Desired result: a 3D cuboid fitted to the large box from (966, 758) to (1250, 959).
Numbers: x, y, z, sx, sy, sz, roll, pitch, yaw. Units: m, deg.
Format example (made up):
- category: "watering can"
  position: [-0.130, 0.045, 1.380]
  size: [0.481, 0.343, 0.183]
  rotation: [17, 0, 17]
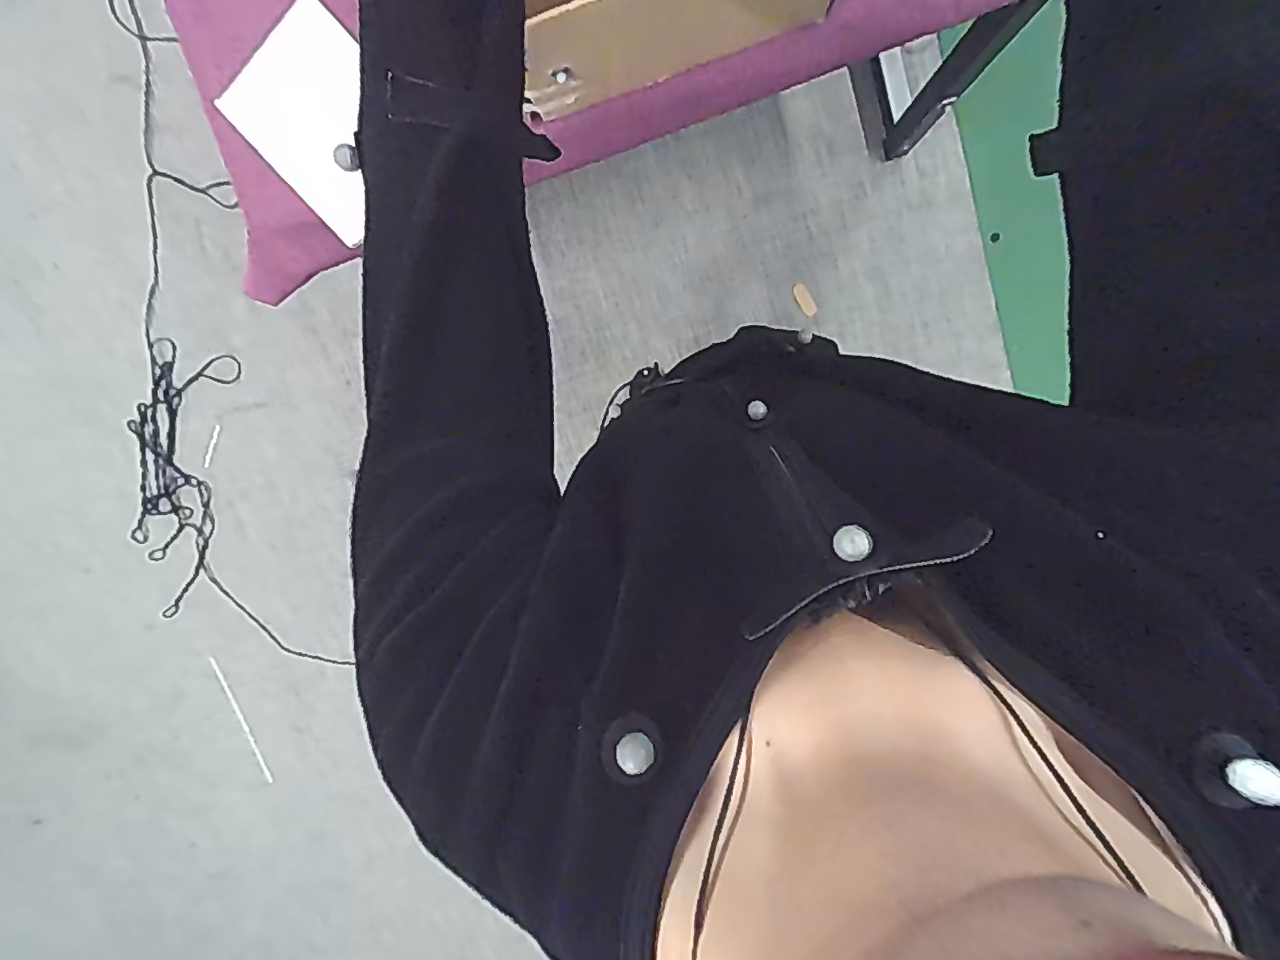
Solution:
- category: "large box"
  position: [1.176, 1.025, 1.411]
  size: [0.408, 0.320, 0.320]
  rotation: [-31, 96, 8]
